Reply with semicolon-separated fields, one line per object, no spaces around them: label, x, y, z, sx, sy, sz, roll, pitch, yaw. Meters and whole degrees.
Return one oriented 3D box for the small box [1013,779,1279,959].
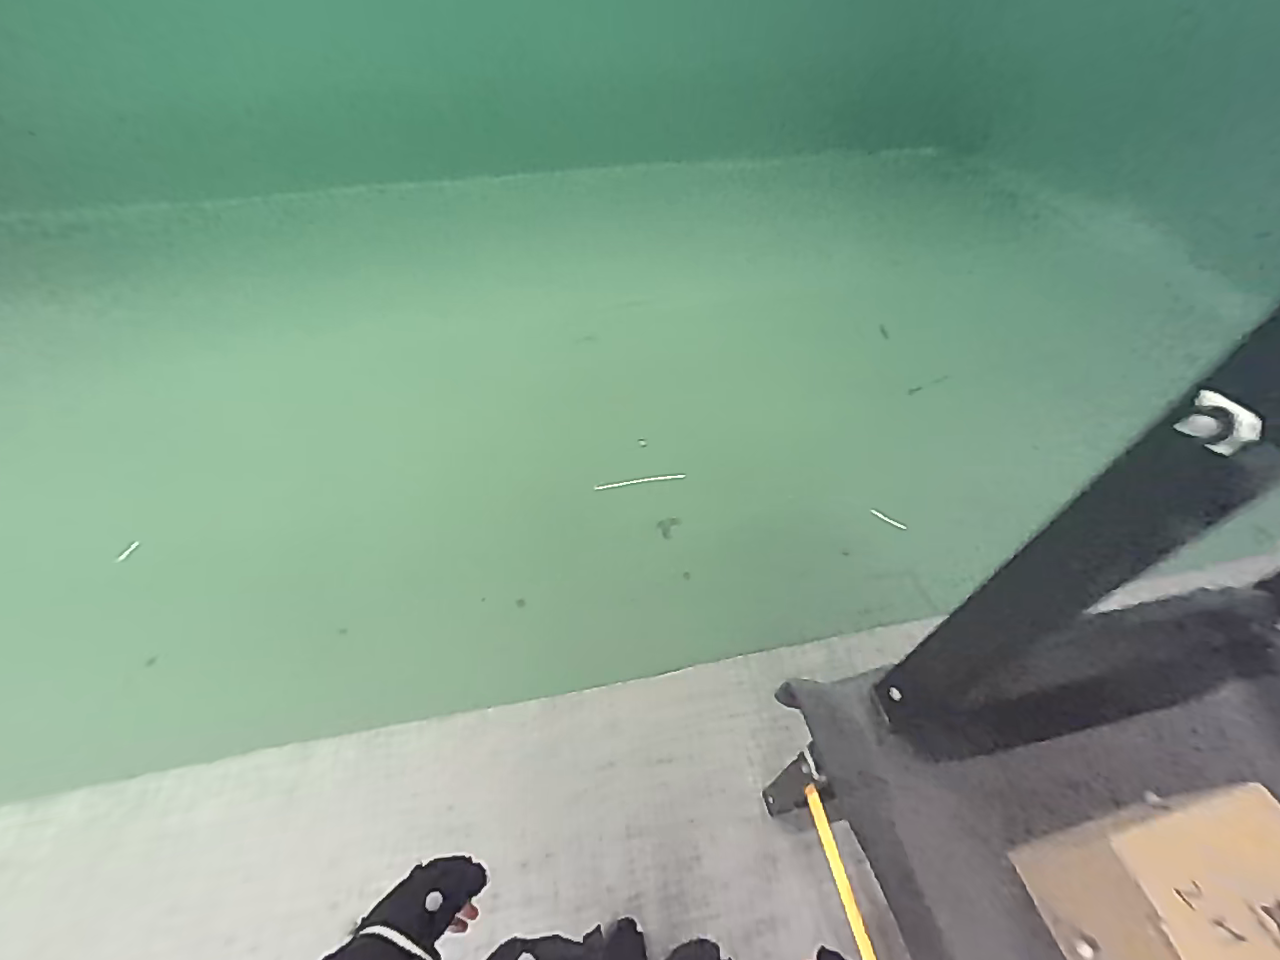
small box;0.512;0.405;0.509;0.179;0.176;0.168;-11;52;-9
